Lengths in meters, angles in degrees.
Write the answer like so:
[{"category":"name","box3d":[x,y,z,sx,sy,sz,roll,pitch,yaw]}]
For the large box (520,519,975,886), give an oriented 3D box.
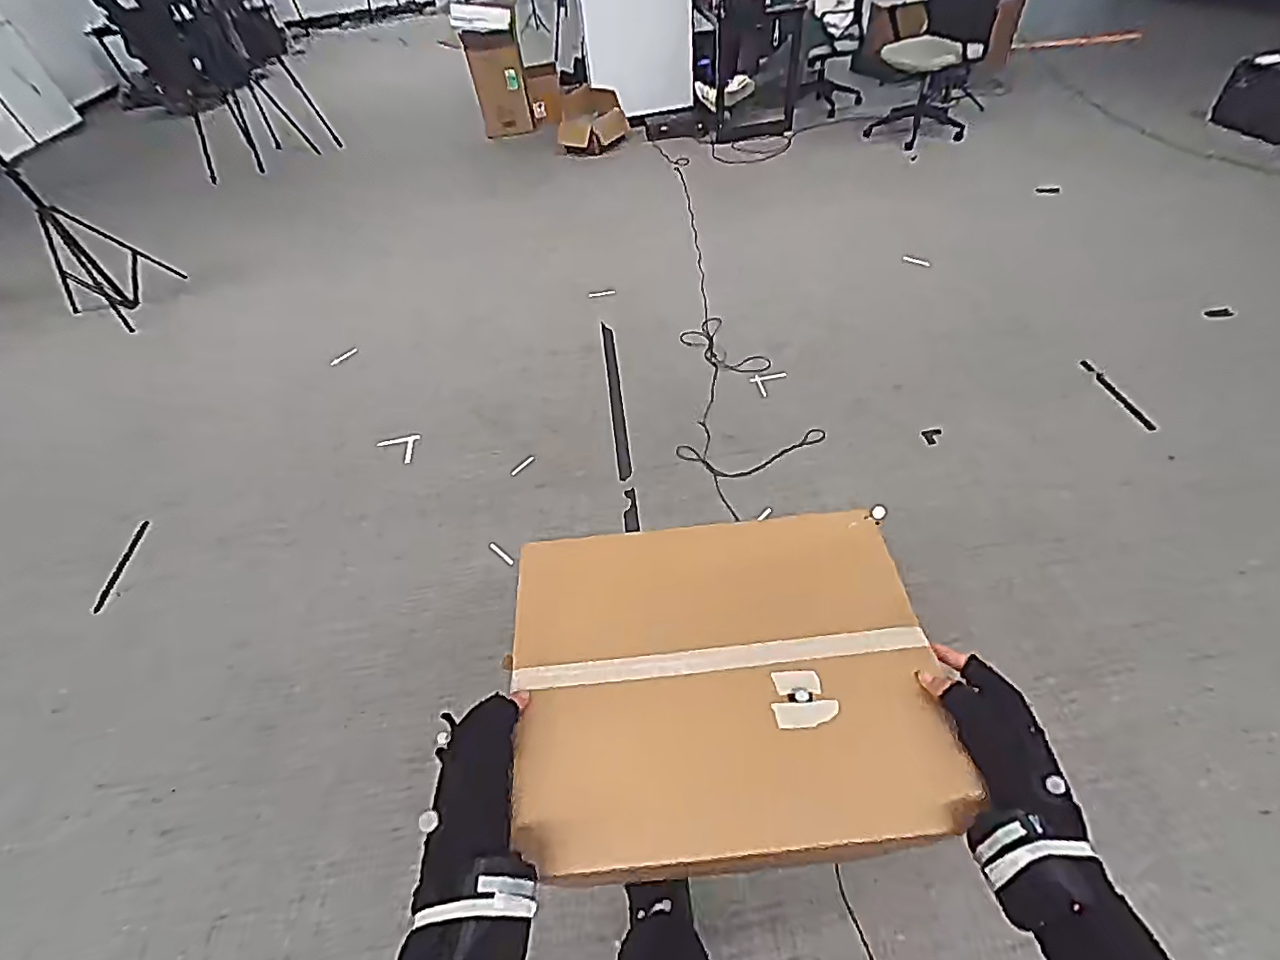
[{"category":"large box","box3d":[0.084,0.279,0.665,0.408,0.320,0.320,-6,52,-2]}]
